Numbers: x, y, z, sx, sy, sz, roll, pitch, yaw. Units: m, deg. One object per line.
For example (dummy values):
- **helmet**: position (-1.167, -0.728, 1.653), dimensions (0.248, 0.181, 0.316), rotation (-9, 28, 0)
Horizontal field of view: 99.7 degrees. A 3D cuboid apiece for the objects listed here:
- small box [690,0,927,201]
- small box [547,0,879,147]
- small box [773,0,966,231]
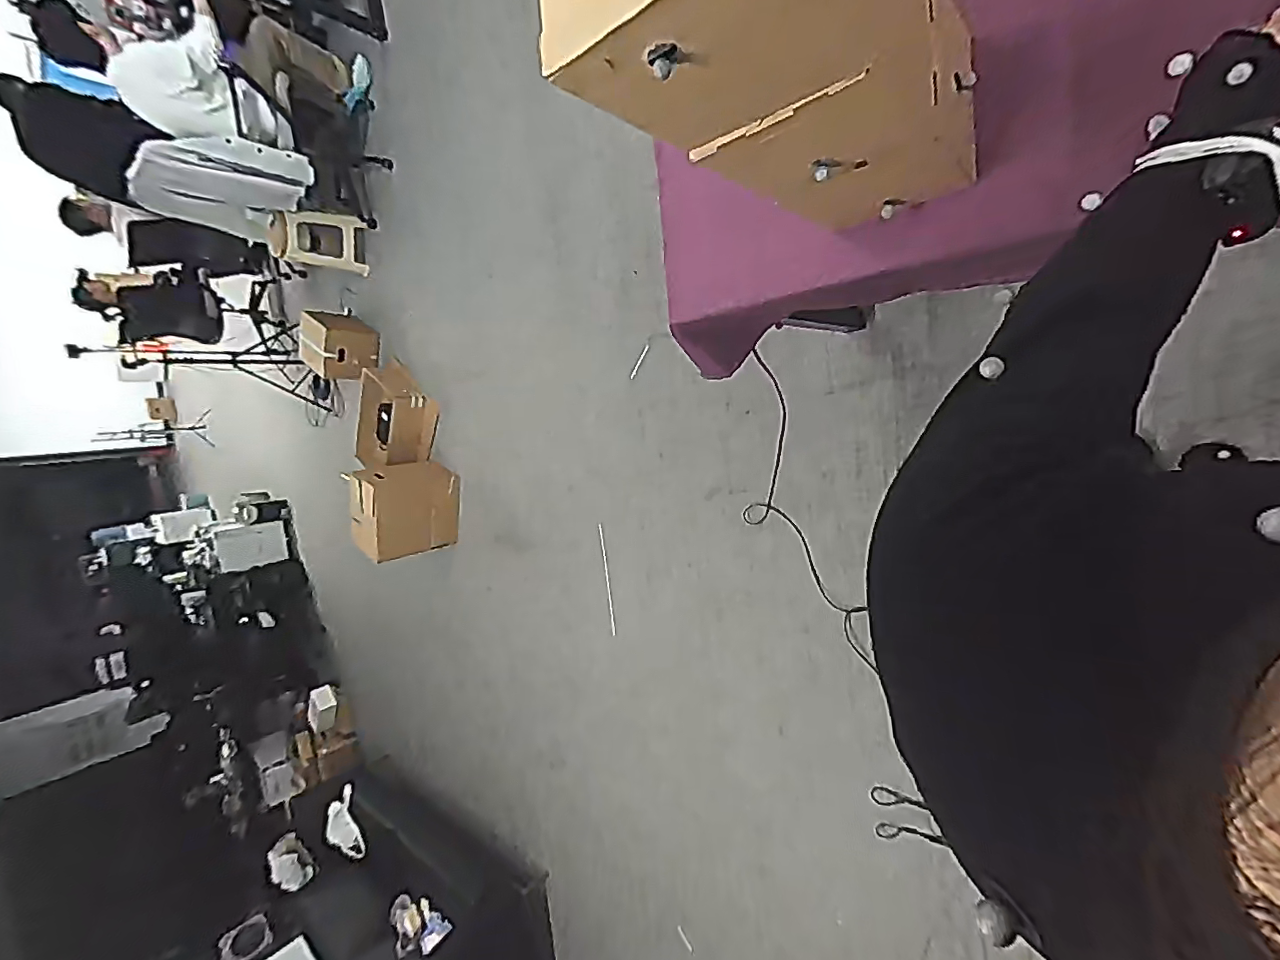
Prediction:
- **small box**: position (0.156, -0.393, 0.504), dimensions (0.168, 0.176, 0.179), rotation (0, 99, 43)
- **small box**: position (0.050, -0.370, 0.380), dimensions (0.179, 0.176, 0.168), rotation (2, 100, 41)
- **small box**: position (0.266, -0.411, 0.627), dimensions (0.179, 0.176, 0.168), rotation (-2, 96, 42)
